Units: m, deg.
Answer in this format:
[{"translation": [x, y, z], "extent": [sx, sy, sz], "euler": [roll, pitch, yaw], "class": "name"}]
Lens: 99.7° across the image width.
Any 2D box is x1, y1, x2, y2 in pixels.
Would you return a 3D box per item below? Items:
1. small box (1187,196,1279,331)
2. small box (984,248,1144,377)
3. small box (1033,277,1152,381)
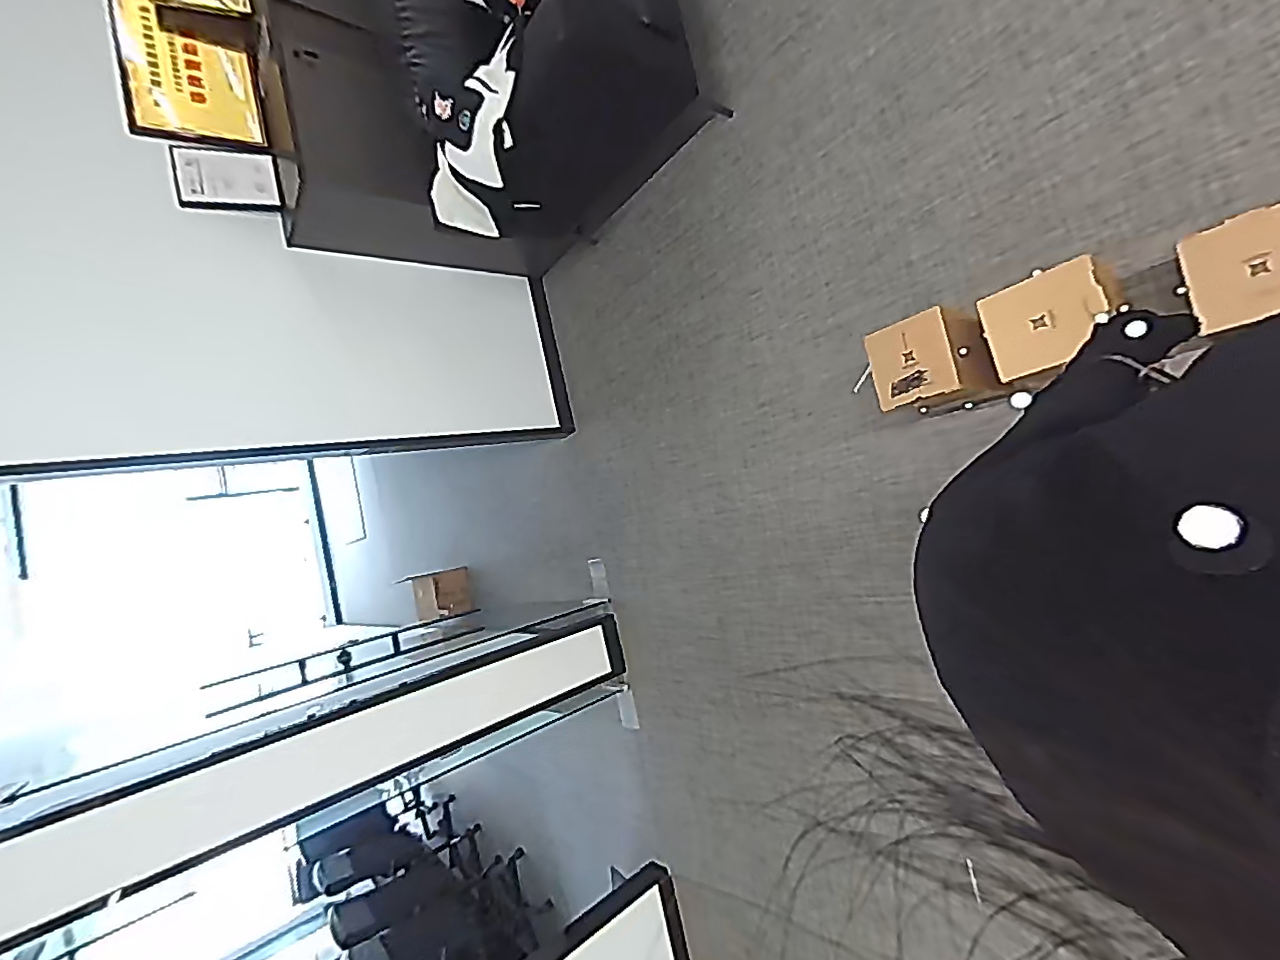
[{"translation": [1.063, -0.364, 0.911], "extent": [0.168, 0.176, 0.179], "euler": [-16, 86, 51], "class": "small box"}, {"translation": [0.783, -0.297, 1.000], "extent": [0.179, 0.176, 0.168], "euler": [-21, 81, 49], "class": "small box"}, {"translation": [0.905, -0.311, 1.107], "extent": [0.168, 0.176, 0.179], "euler": [-20, 81, 51], "class": "small box"}]
